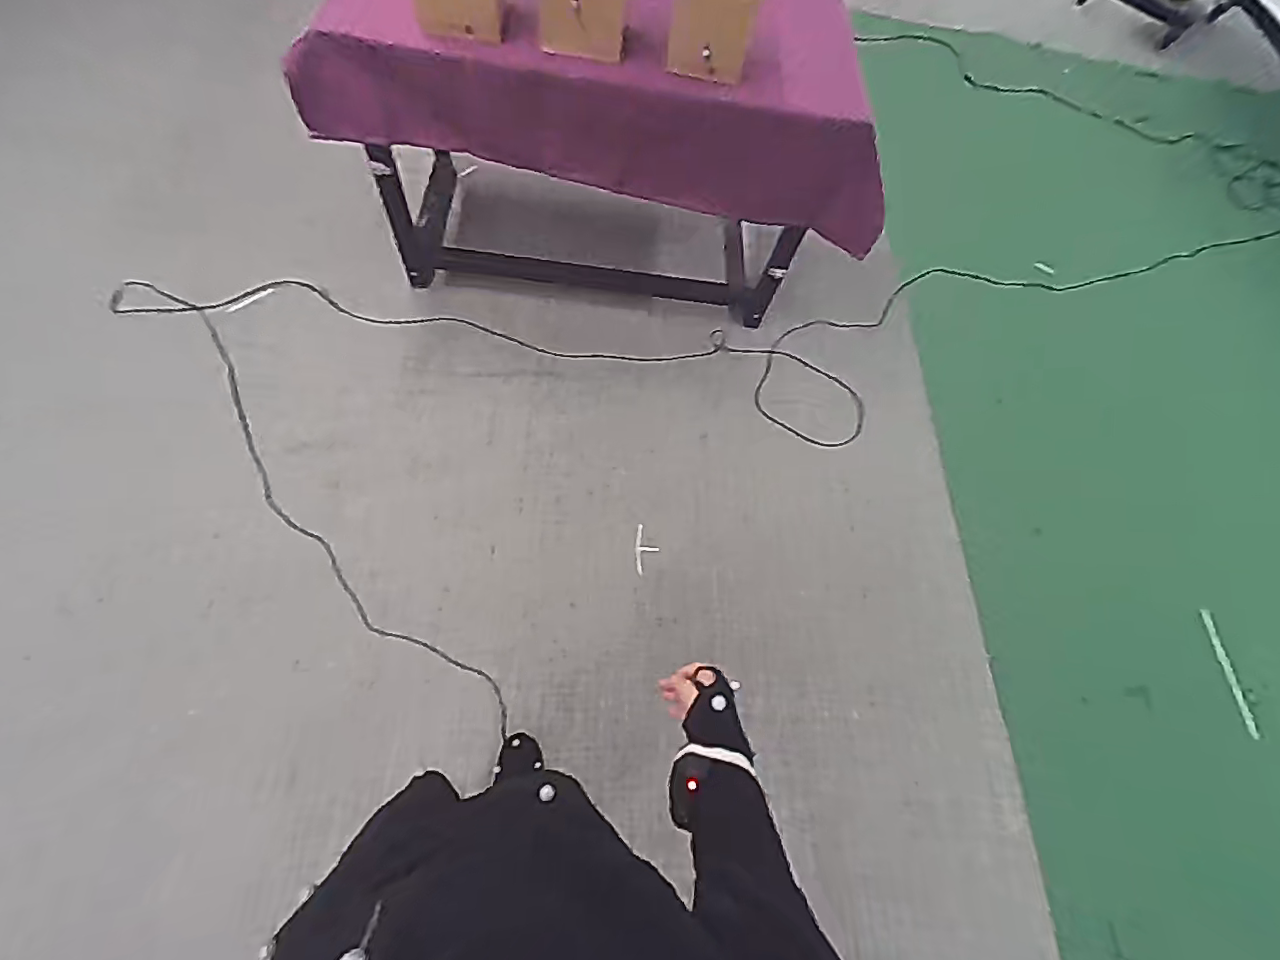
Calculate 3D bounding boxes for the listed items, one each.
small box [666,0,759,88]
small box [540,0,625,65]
[{"bbox_3d":[0.155,-1.000,1.171,0.168,0.176,0.179,9,64,-4],"label":"small box"},{"bbox_3d":[-0.120,-1.019,1.142,0.179,0.176,0.168,4,65,-7],"label":"small box"}]
